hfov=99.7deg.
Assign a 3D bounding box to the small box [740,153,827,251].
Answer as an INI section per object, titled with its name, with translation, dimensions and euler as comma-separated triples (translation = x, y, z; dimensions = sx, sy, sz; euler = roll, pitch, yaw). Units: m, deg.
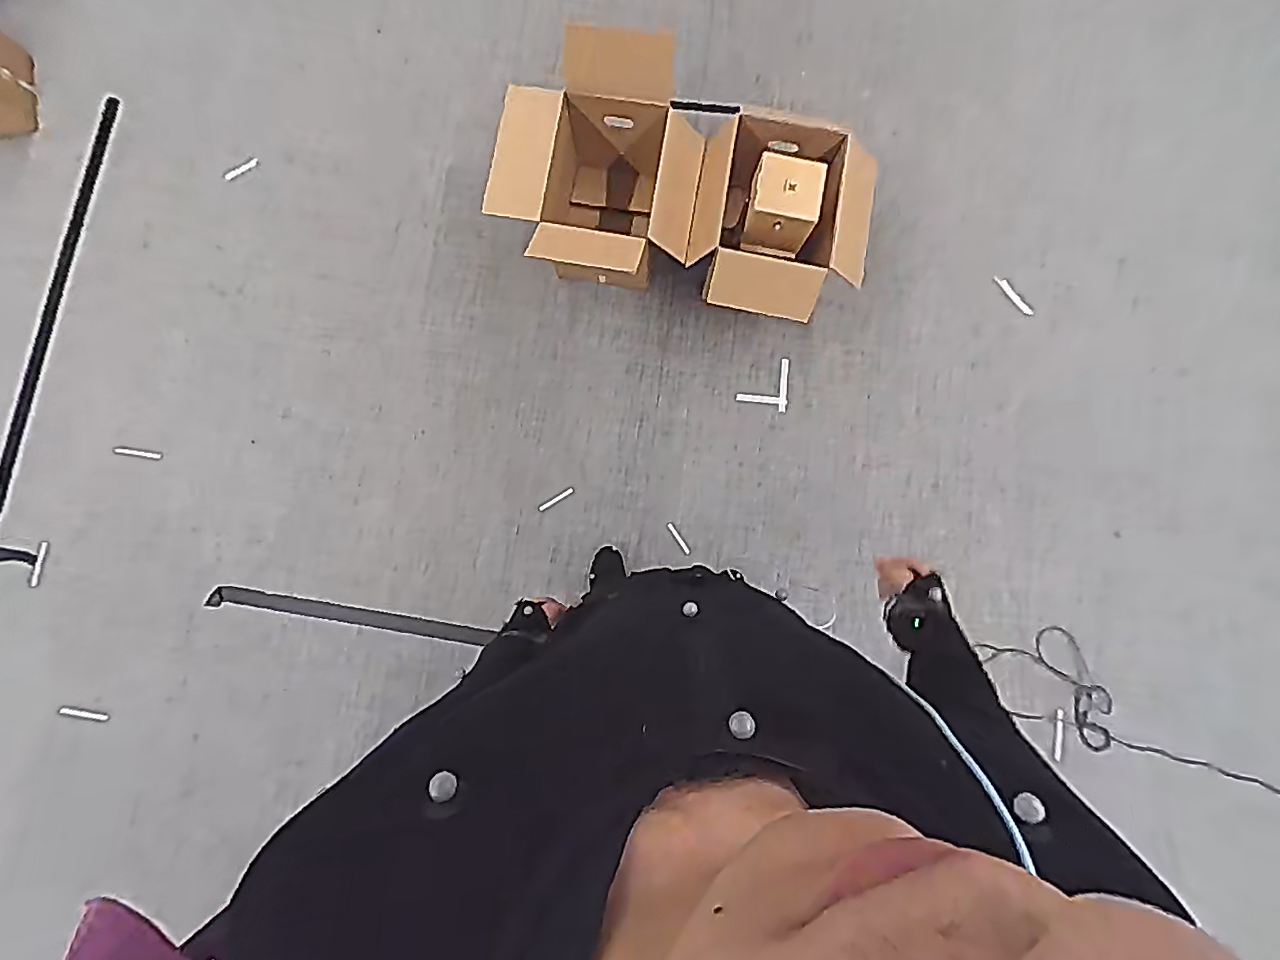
[small box]
translation = 0.390, -0.758, 1.491
dimensions = 0.179, 0.176, 0.168
euler = 11, 85, 0
